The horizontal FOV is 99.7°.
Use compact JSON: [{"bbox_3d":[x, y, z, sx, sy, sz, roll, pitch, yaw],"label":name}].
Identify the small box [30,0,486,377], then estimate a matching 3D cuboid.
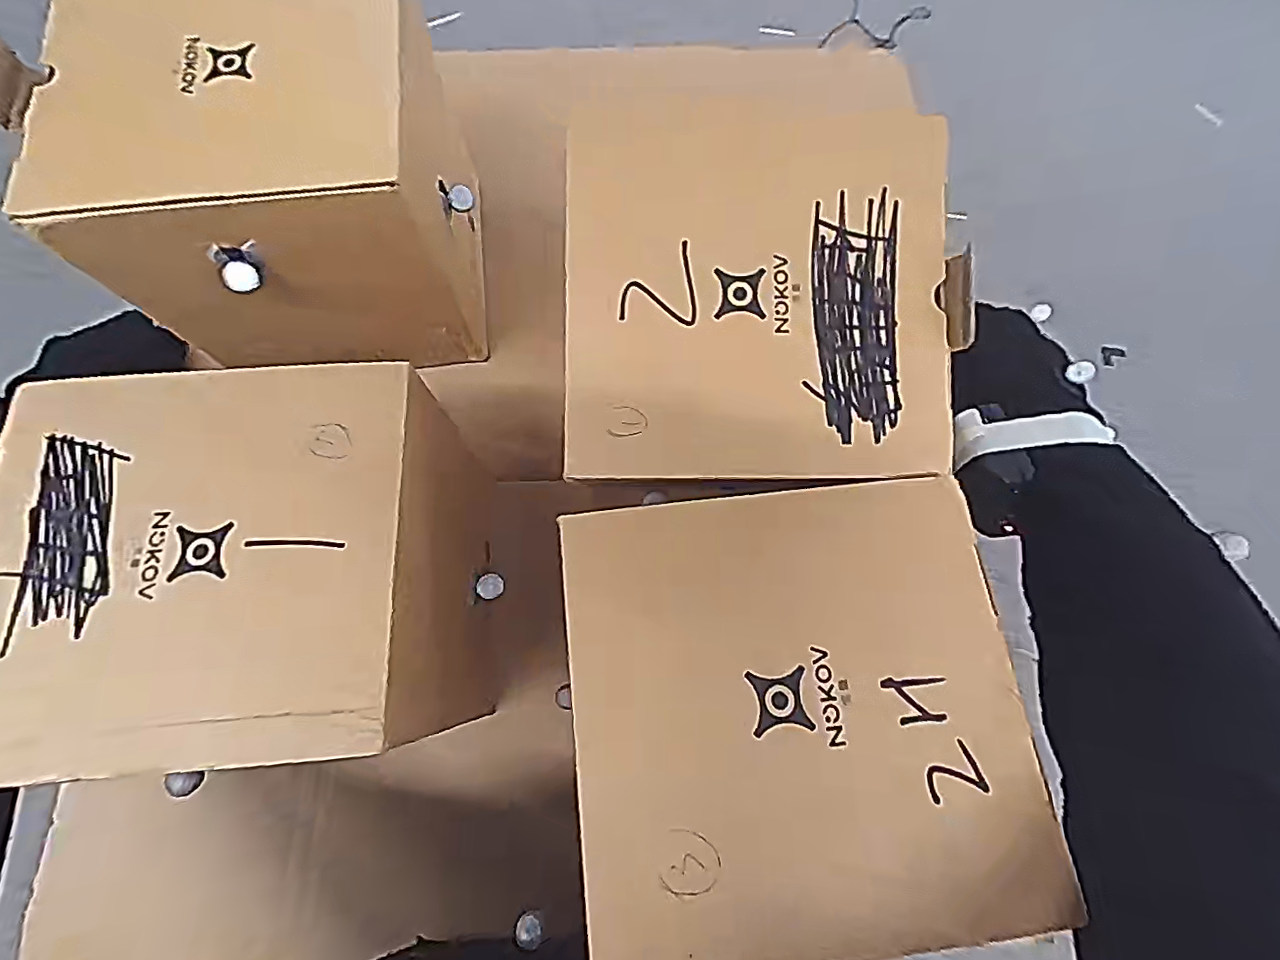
[{"bbox_3d":[-0.203,-0.182,0.350,0.179,0.176,0.168,-6,74,-2],"label":"small box"}]
